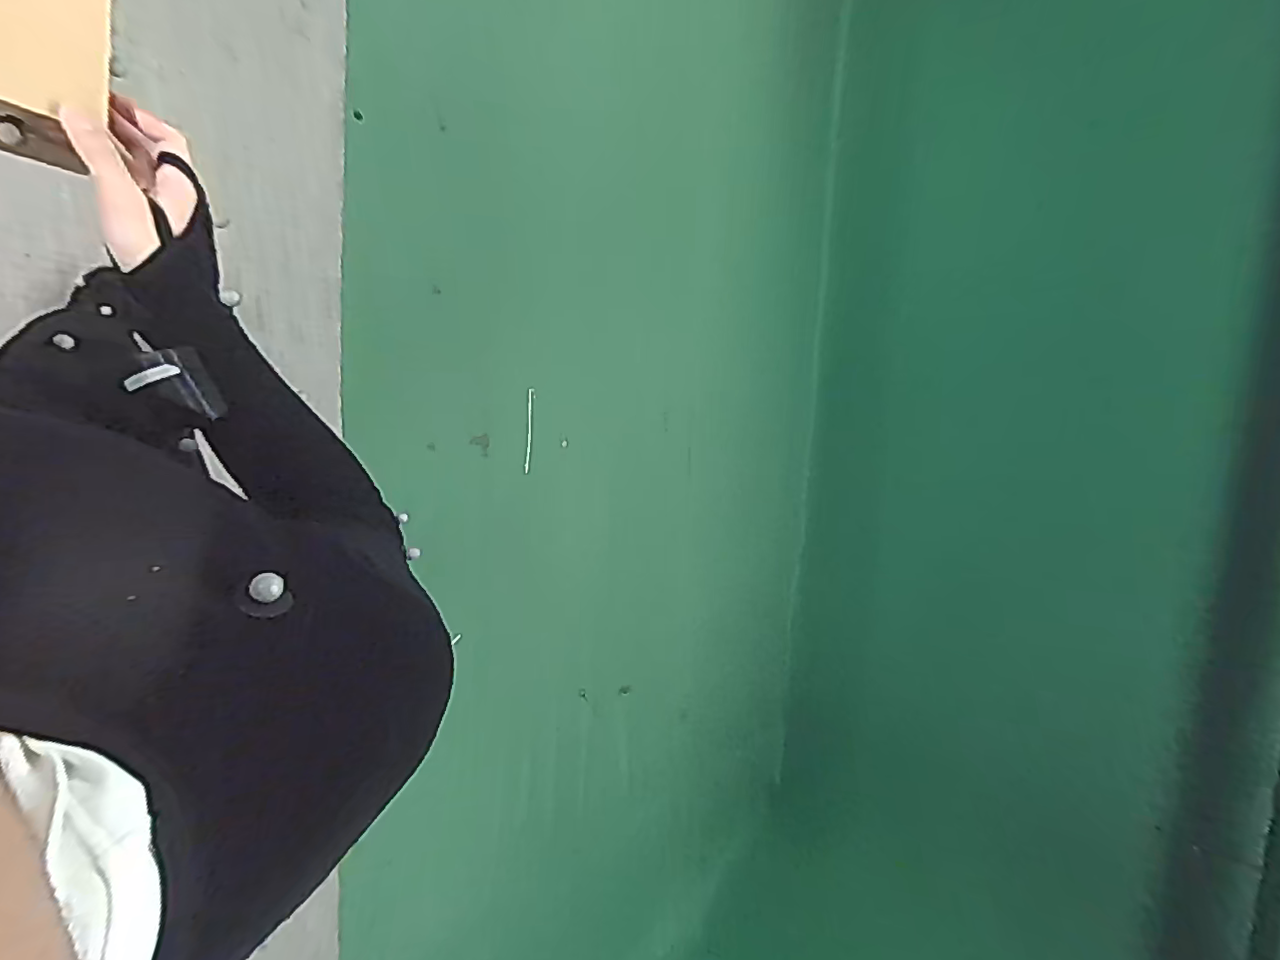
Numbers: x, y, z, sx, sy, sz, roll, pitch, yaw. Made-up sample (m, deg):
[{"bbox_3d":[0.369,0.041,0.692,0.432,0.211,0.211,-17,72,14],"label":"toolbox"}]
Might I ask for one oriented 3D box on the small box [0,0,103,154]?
[{"bbox_3d":[-0.489,-0.346,0.361,0.179,0.176,0.168,2,99,-48],"label":"small box"}]
